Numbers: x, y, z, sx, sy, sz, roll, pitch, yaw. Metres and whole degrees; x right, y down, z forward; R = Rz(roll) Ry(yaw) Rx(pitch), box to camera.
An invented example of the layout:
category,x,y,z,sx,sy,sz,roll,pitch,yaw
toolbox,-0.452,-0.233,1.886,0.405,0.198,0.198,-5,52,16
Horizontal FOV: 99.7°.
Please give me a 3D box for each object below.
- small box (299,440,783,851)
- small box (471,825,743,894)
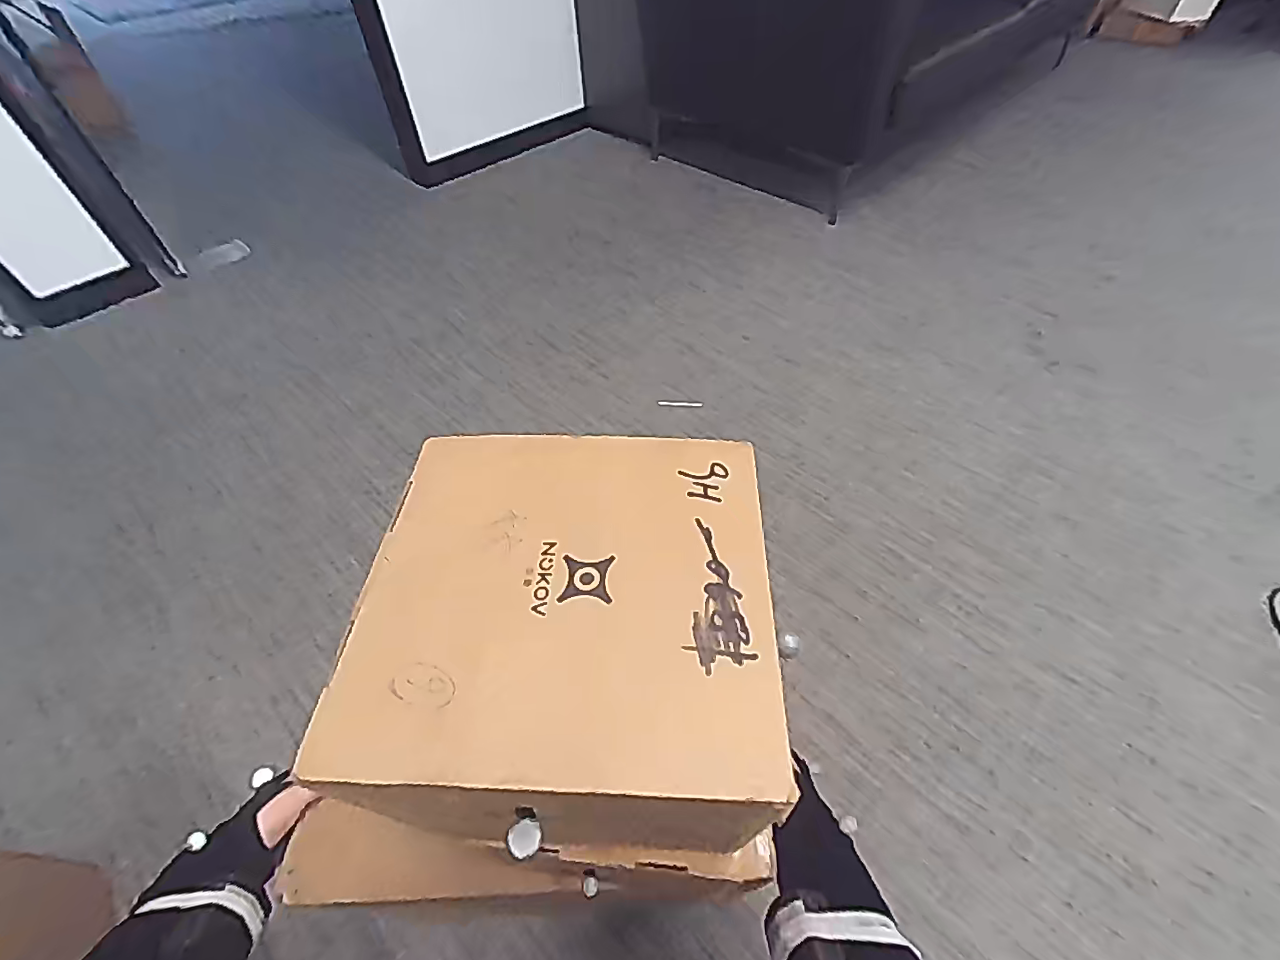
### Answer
category,x,y,z,sx,sy,sz,roll,pitch,yaw
small box,-0.029,0.095,0.298,0.179,0.176,0.168,1,51,4
small box,-0.012,0.201,0.423,0.168,0.176,0.179,5,51,6
